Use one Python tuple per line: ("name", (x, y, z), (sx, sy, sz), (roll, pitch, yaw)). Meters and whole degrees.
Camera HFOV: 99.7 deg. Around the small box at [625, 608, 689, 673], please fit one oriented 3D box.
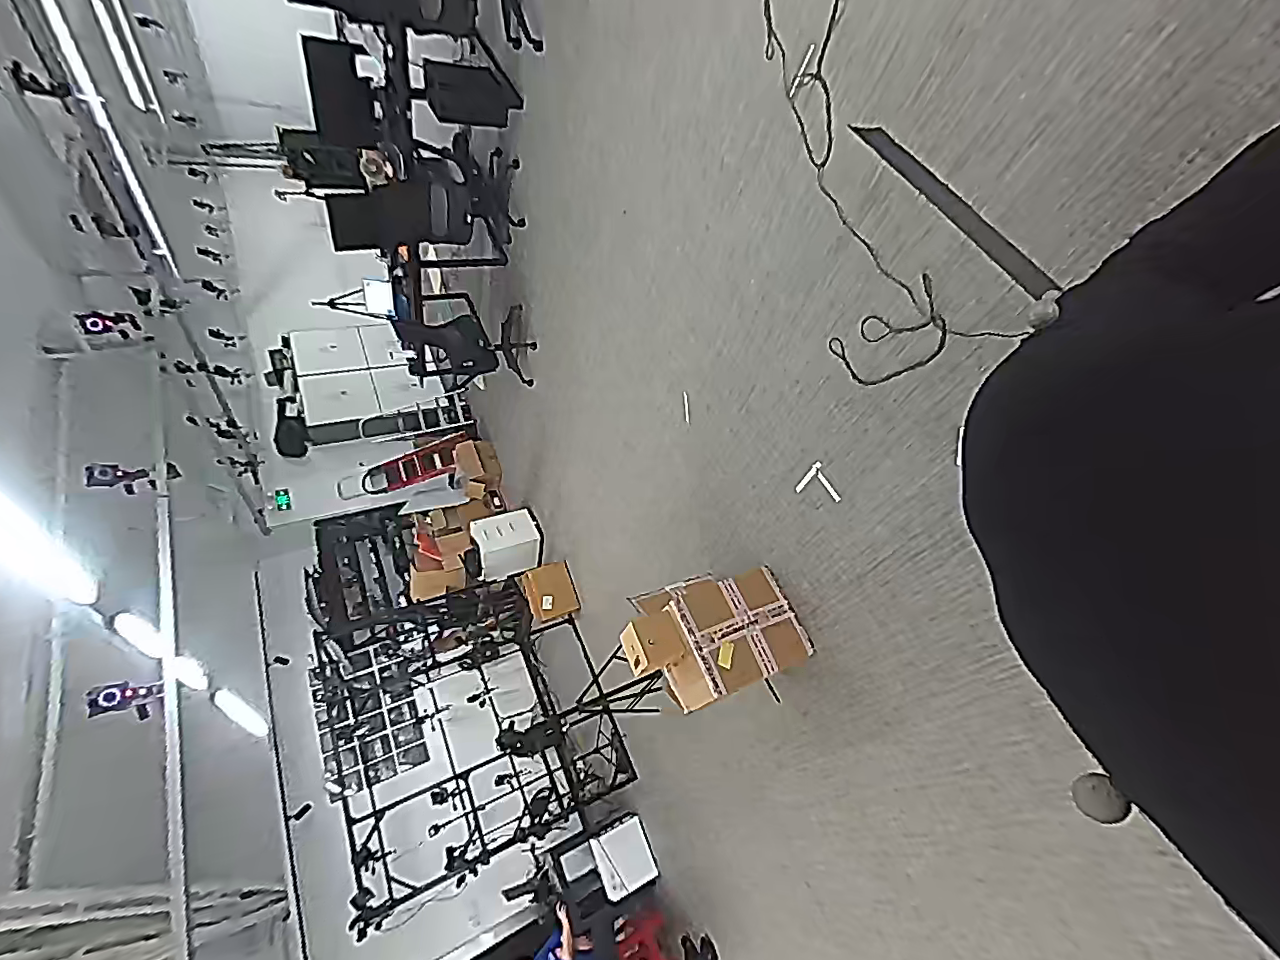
("small box", (0.067, 0.622, 2.108), (0.179, 0.176, 0.168), (64, 149, 27))
